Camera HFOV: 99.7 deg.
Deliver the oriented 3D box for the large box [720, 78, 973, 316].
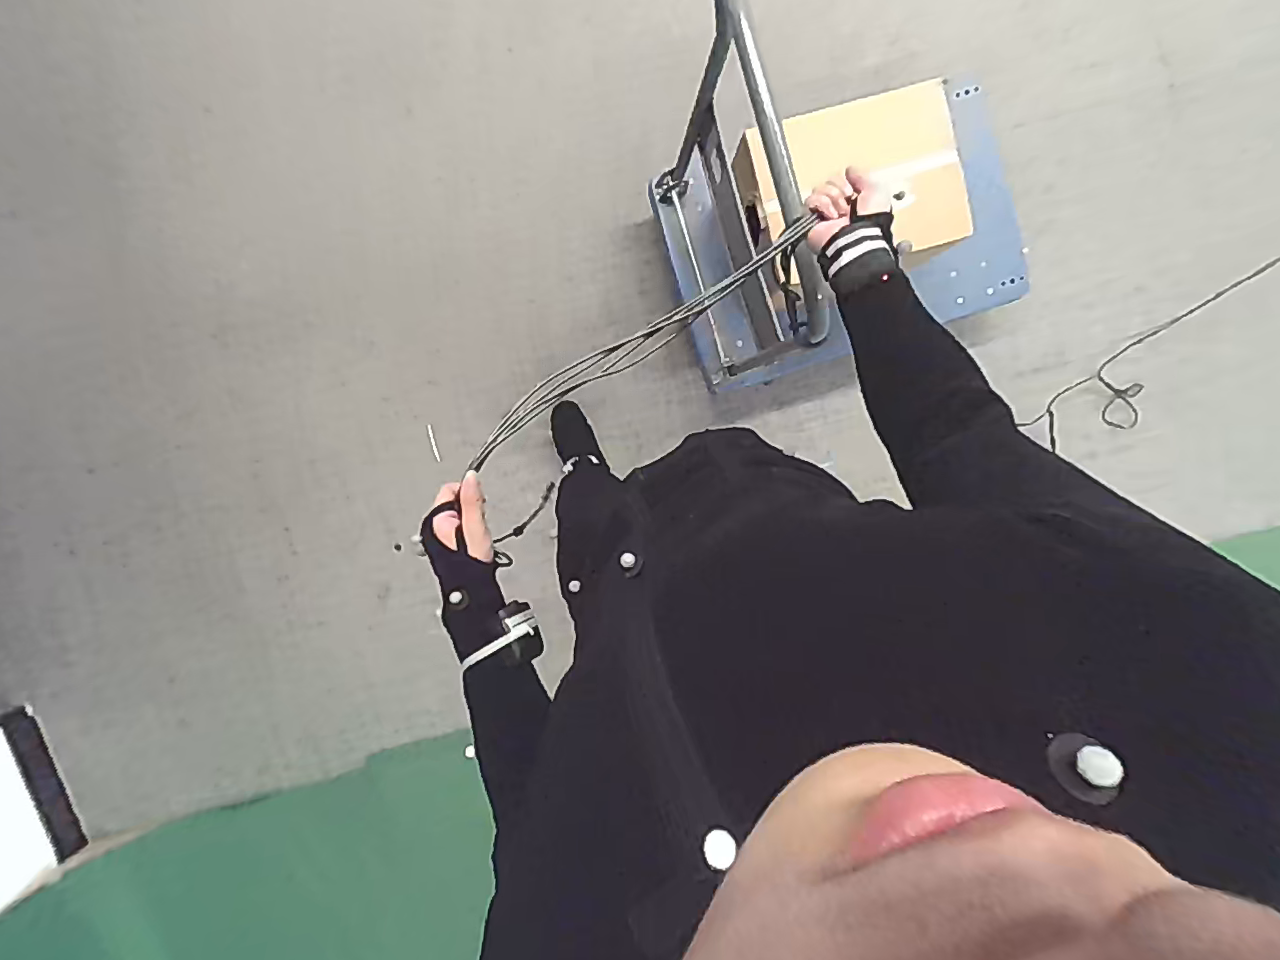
[{"bbox_3d":[0.432,-0.599,1.214,0.408,0.320,0.320,-15,96,-1],"label":"large box"}]
